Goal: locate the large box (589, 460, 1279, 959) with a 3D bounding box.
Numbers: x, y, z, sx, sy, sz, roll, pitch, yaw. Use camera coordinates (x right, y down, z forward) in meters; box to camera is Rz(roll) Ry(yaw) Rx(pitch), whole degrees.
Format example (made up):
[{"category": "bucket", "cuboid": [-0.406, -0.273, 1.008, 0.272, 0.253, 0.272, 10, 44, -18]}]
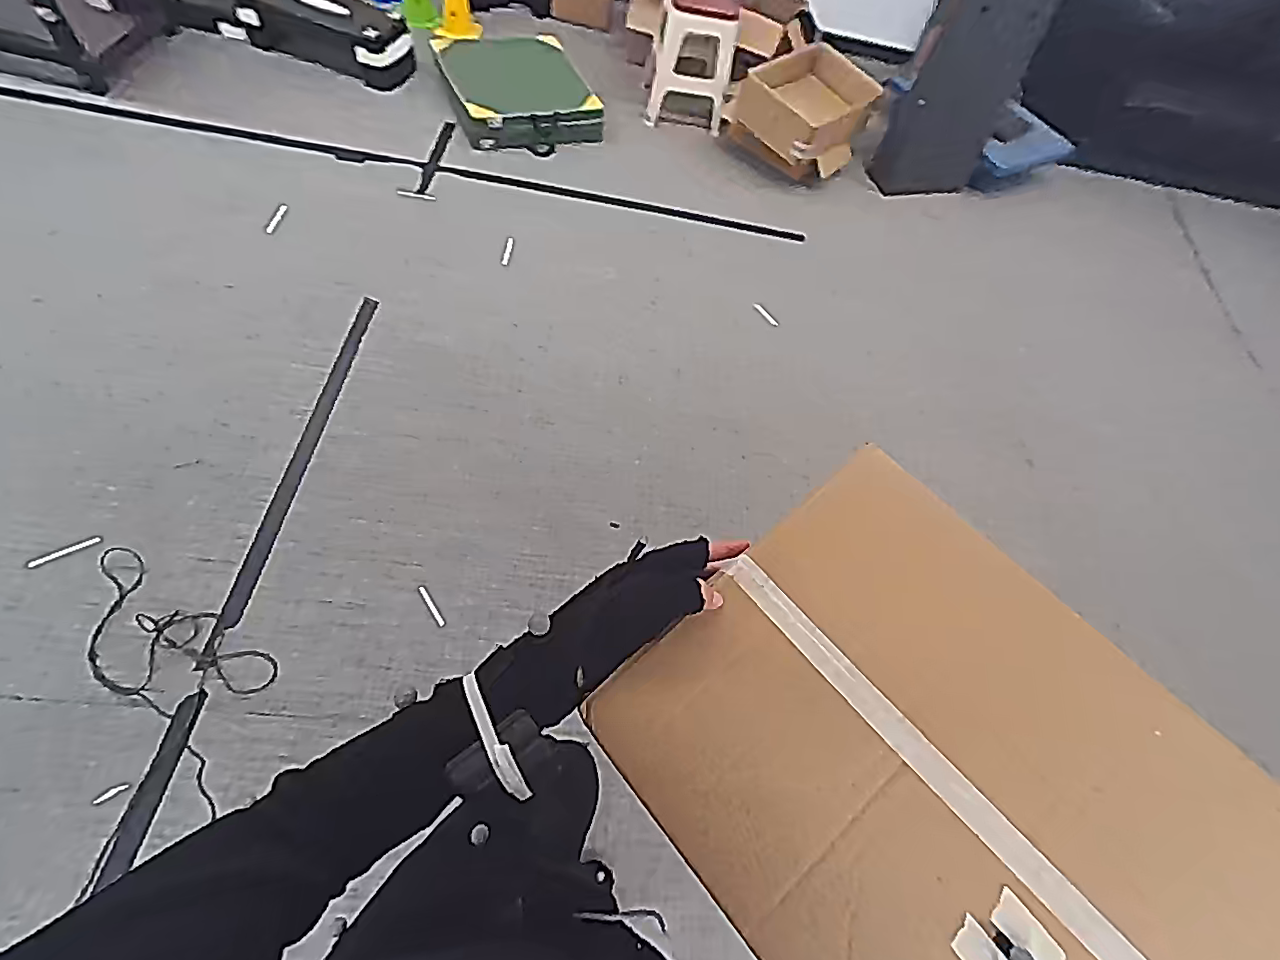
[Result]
[{"category": "large box", "cuboid": [0.207, 0.263, 0.499, 0.320, 0.320, 0.408, -39, 71, -13]}]
